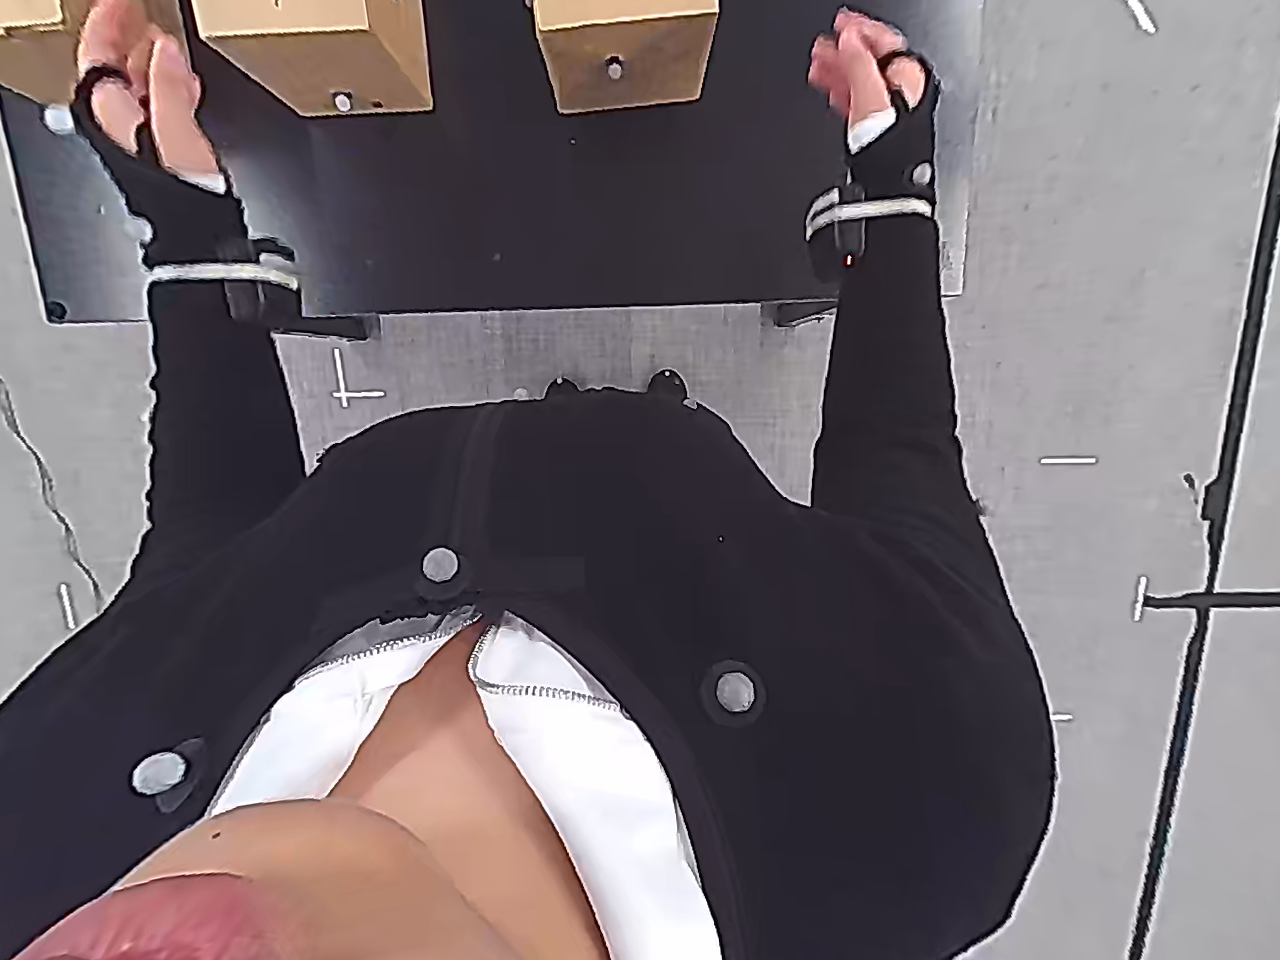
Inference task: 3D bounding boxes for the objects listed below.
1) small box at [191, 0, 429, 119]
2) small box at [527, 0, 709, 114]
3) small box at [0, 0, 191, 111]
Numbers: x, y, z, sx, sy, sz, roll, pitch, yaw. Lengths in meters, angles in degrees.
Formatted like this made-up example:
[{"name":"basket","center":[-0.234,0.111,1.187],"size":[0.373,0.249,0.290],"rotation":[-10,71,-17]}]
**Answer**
[{"name":"small box","center":[-0.343,-0.521,0.578],"size":[0.168,0.176,0.179],"rotation":[-3,102,0]},{"name":"small box","center":[-0.025,-0.526,0.582],"size":[0.179,0.176,0.168],"rotation":[-6,101,1]},{"name":"small box","center":[-0.630,-0.521,0.575],"size":[0.168,0.176,0.179],"rotation":[-4,100,-1]}]
